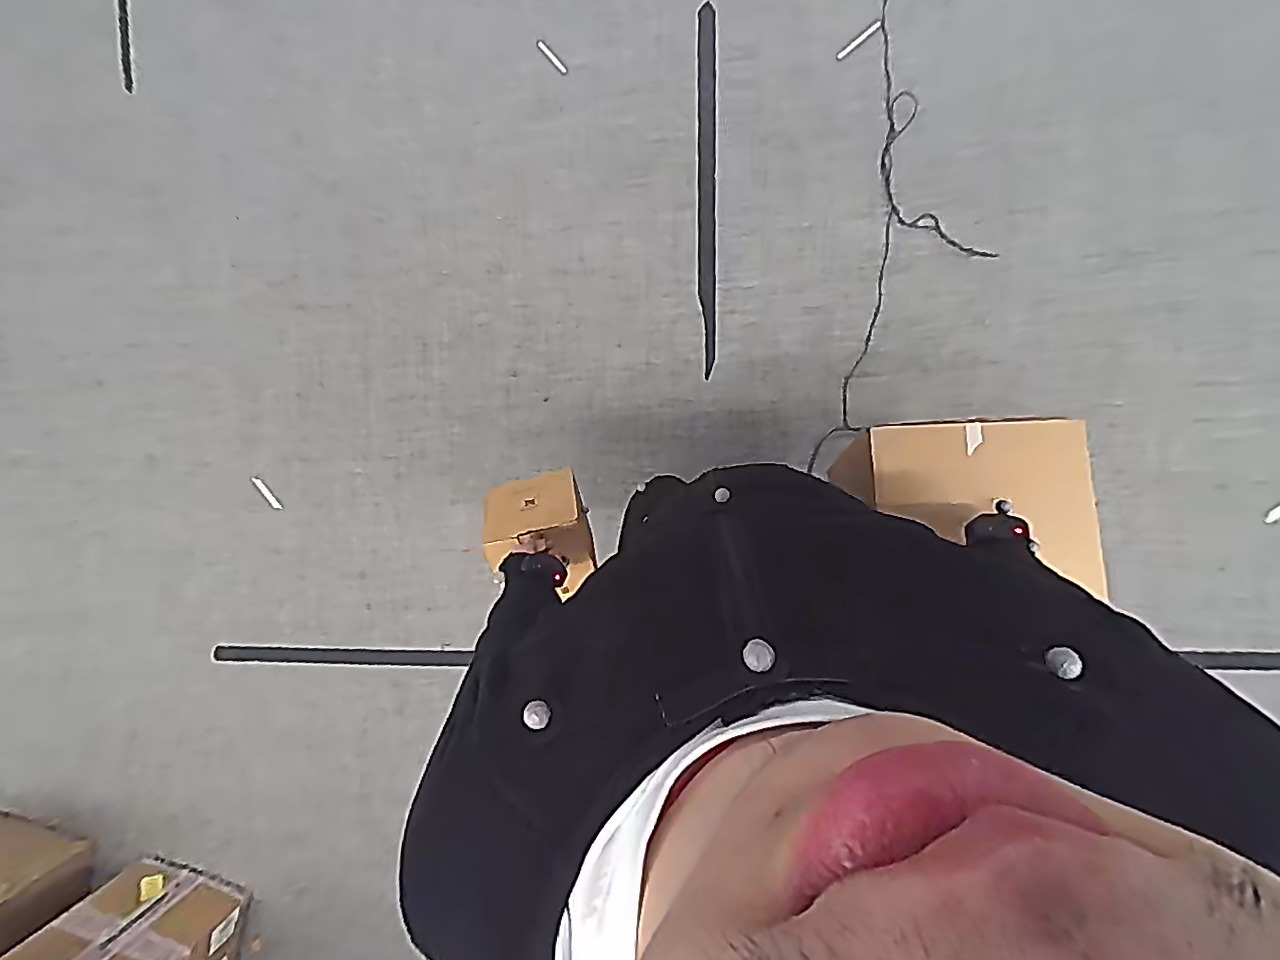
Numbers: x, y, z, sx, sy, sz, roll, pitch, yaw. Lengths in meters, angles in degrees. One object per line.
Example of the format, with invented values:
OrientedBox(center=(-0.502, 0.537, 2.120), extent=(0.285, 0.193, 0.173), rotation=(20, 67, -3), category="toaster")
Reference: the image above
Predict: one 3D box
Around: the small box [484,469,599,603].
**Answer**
OrientedBox(center=(-0.179, 0.109, 1.009), extent=(0.168, 0.179, 0.176), rotation=(-14, 122, -3), category="small box")
